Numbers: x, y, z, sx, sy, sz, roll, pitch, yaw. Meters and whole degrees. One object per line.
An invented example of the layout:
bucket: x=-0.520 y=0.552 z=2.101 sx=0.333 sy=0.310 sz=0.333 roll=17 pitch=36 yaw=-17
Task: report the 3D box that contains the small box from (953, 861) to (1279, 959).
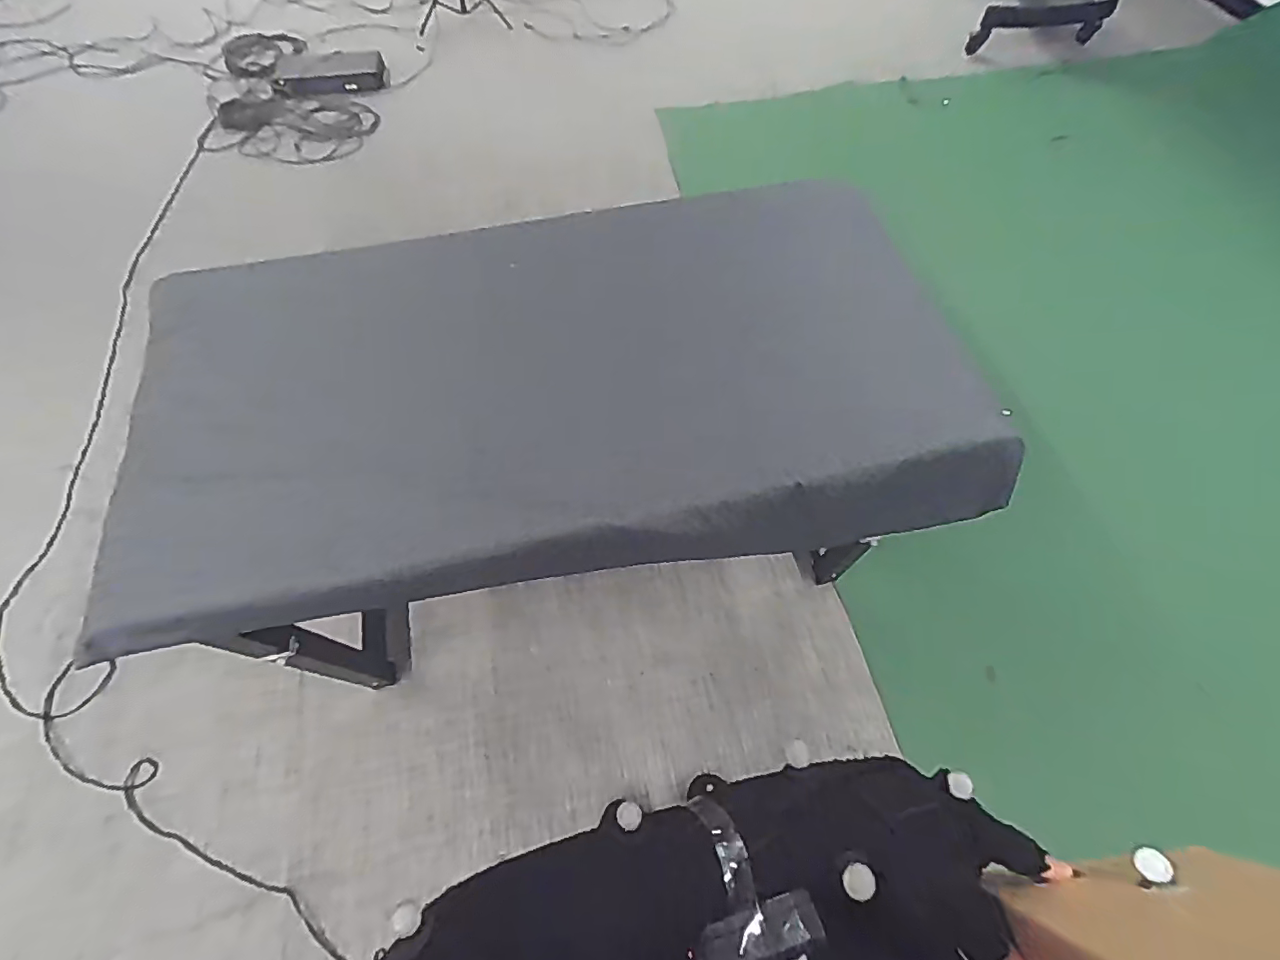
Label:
small box: x=0.285 y=0.306 z=0.247 sx=0.168 sy=0.176 sz=0.179 roll=-3 pitch=68 yaw=-3
